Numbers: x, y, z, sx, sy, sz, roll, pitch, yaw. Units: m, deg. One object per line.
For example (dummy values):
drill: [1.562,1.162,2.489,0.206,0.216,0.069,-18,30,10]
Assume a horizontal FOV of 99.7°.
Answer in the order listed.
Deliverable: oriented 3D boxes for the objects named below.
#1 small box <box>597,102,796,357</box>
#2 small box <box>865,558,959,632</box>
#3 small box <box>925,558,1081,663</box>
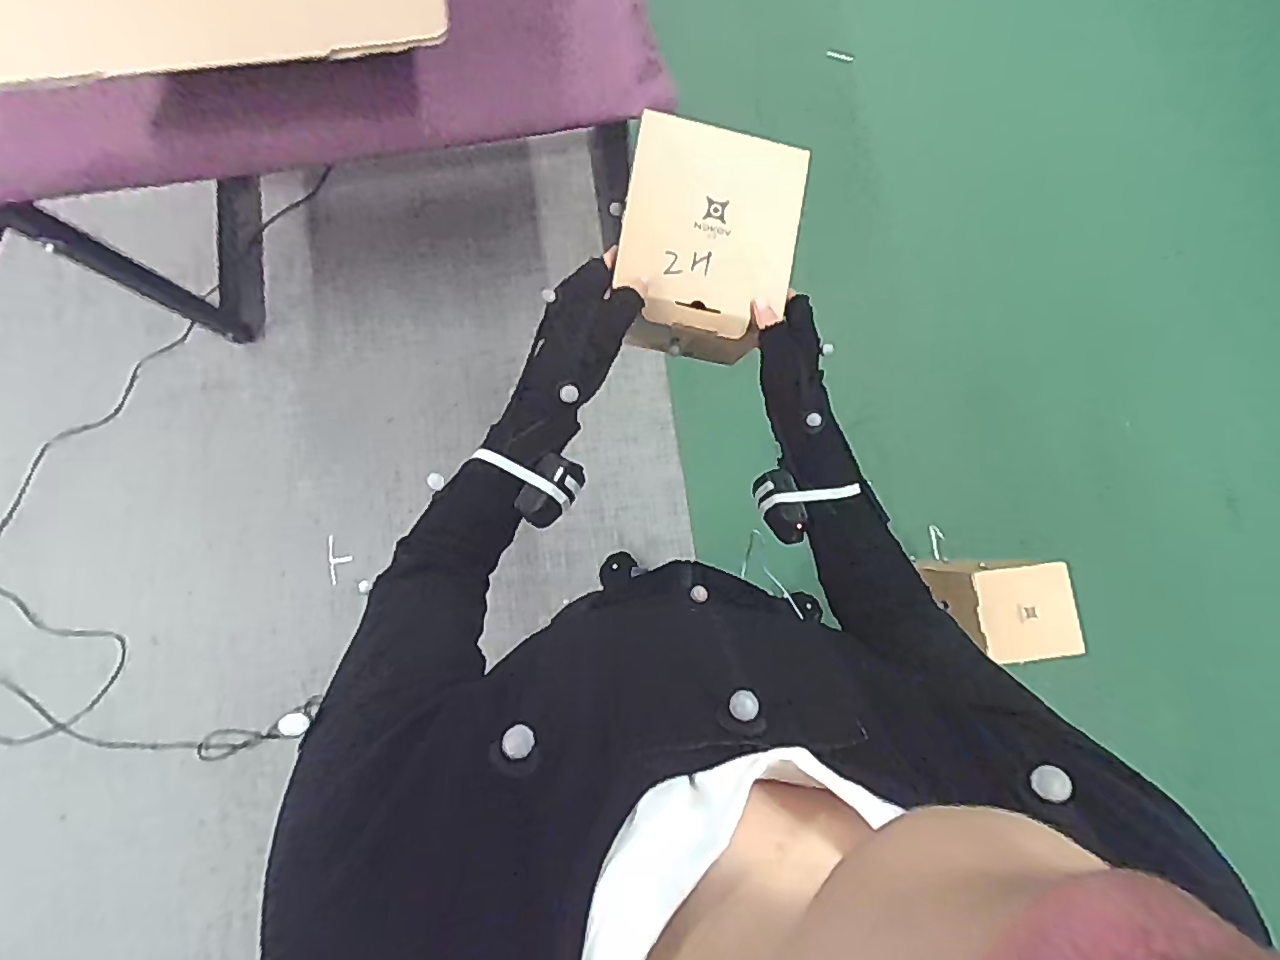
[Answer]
small box: [0.047,-0.251,0.586,0.168,0.176,0.179,10,88,-6]
small box: [0.690,0.287,1.373,0.179,0.176,0.168,-5,83,0]
small box: [0.691,0.244,1.048,0.179,0.176,0.168,-7,83,-1]
